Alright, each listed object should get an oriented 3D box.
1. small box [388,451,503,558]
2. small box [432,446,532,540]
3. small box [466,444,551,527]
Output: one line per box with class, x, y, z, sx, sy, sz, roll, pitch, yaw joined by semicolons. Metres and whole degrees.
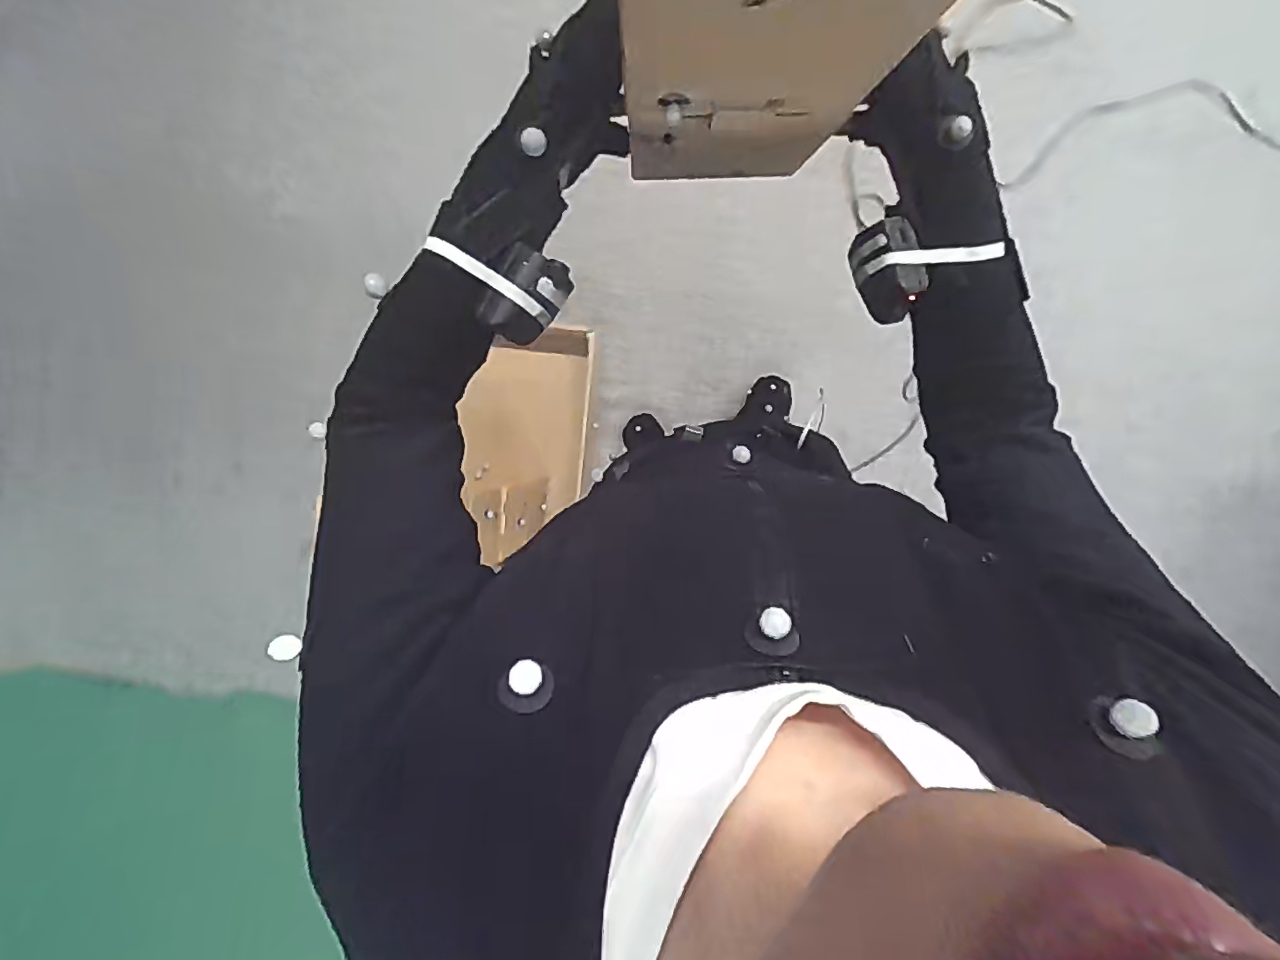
small box;-0.383;0.039;1.054;0.179;0.176;0.168;12;95;4
small box;-0.362;0.023;1.216;0.179;0.176;0.168;13;96;3
small box;-0.346;0.007;1.377;0.179;0.176;0.168;15;97;4
